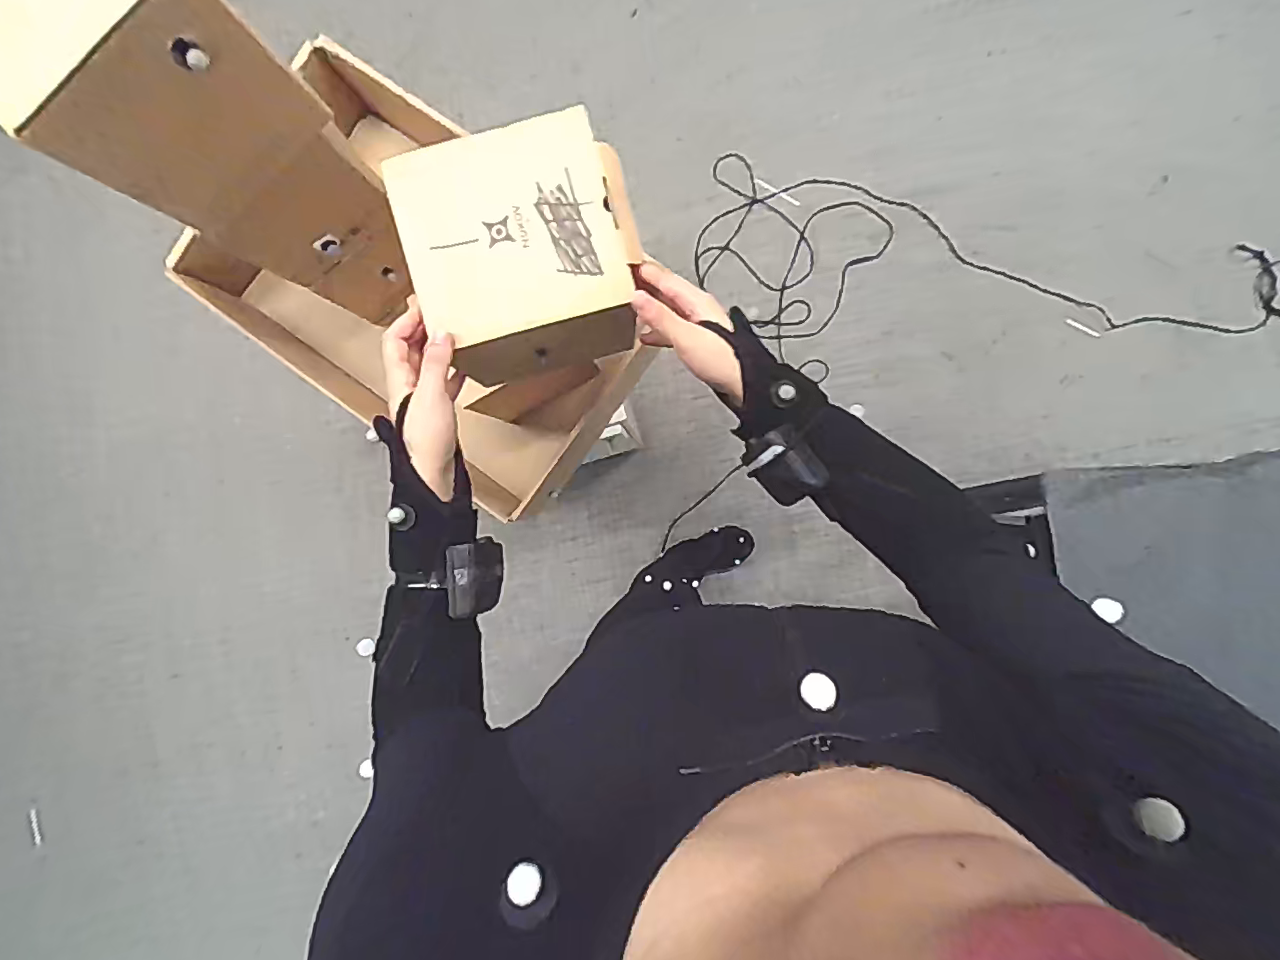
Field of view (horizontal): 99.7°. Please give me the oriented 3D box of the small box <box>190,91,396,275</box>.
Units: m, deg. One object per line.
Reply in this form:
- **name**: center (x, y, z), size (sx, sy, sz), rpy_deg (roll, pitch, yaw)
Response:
- **small box**: center (-0.431, -0.376, 0.628), size (0.168, 0.176, 0.179), rpy_deg (-38, 89, 4)

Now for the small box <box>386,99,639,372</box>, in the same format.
- **small box**: center (-0.106, -0.213, 0.519), size (0.179, 0.176, 0.168), rpy_deg (-14, 91, 0)

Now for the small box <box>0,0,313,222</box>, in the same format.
- **small box**: center (-0.424, -0.369, 0.462), size (0.179, 0.176, 0.168), rpy_deg (-42, 88, 4)
